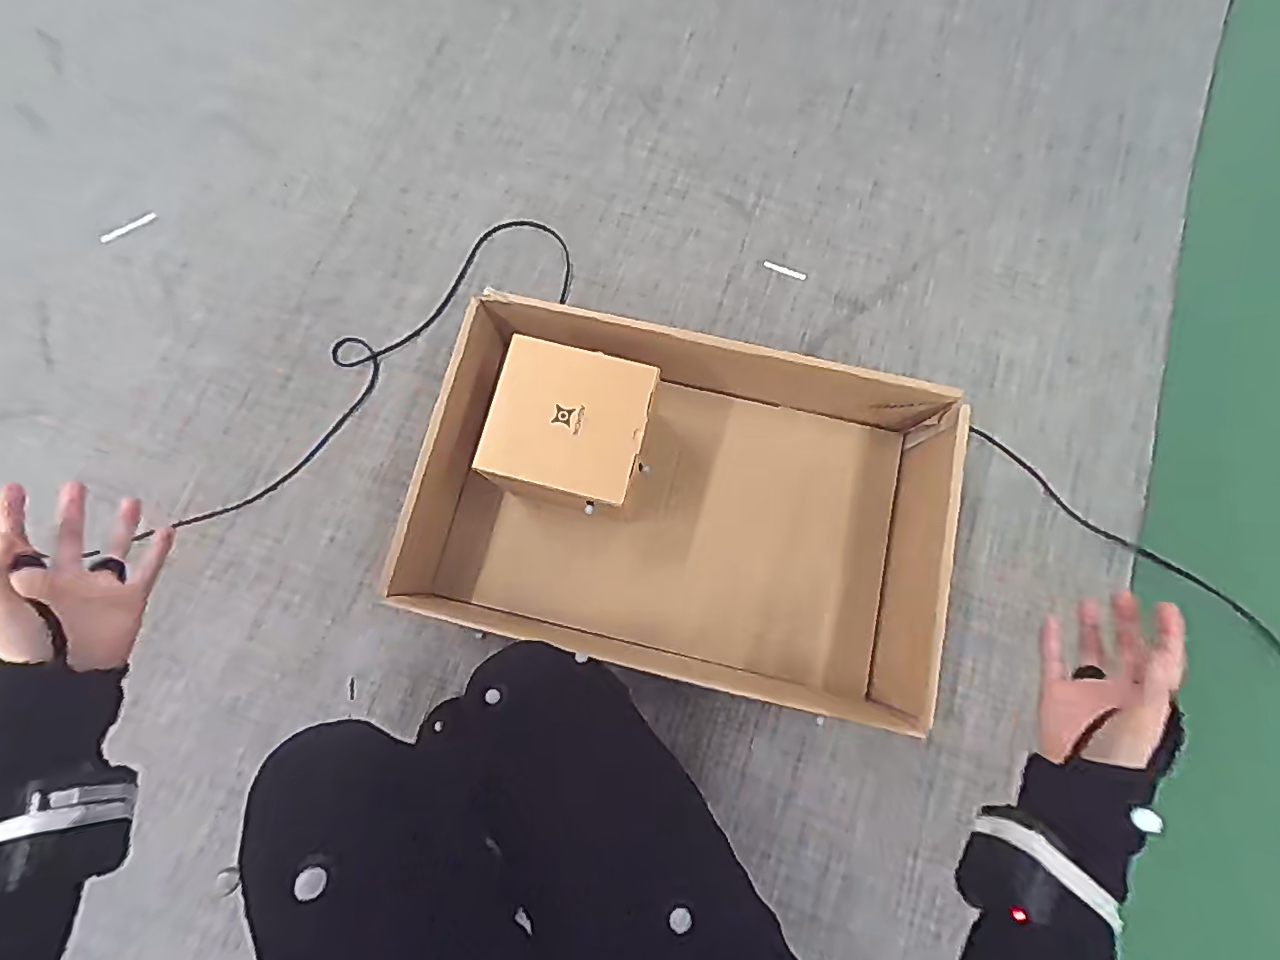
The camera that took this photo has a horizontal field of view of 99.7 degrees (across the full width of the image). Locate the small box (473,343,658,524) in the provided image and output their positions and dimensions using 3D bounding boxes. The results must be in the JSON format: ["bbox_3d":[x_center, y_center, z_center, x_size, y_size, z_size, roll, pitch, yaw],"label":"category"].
[{"bbox_3d":[-0.082,-0.047,0.685,0.179,0.176,0.168,14,79,2],"label":"small box"}]
